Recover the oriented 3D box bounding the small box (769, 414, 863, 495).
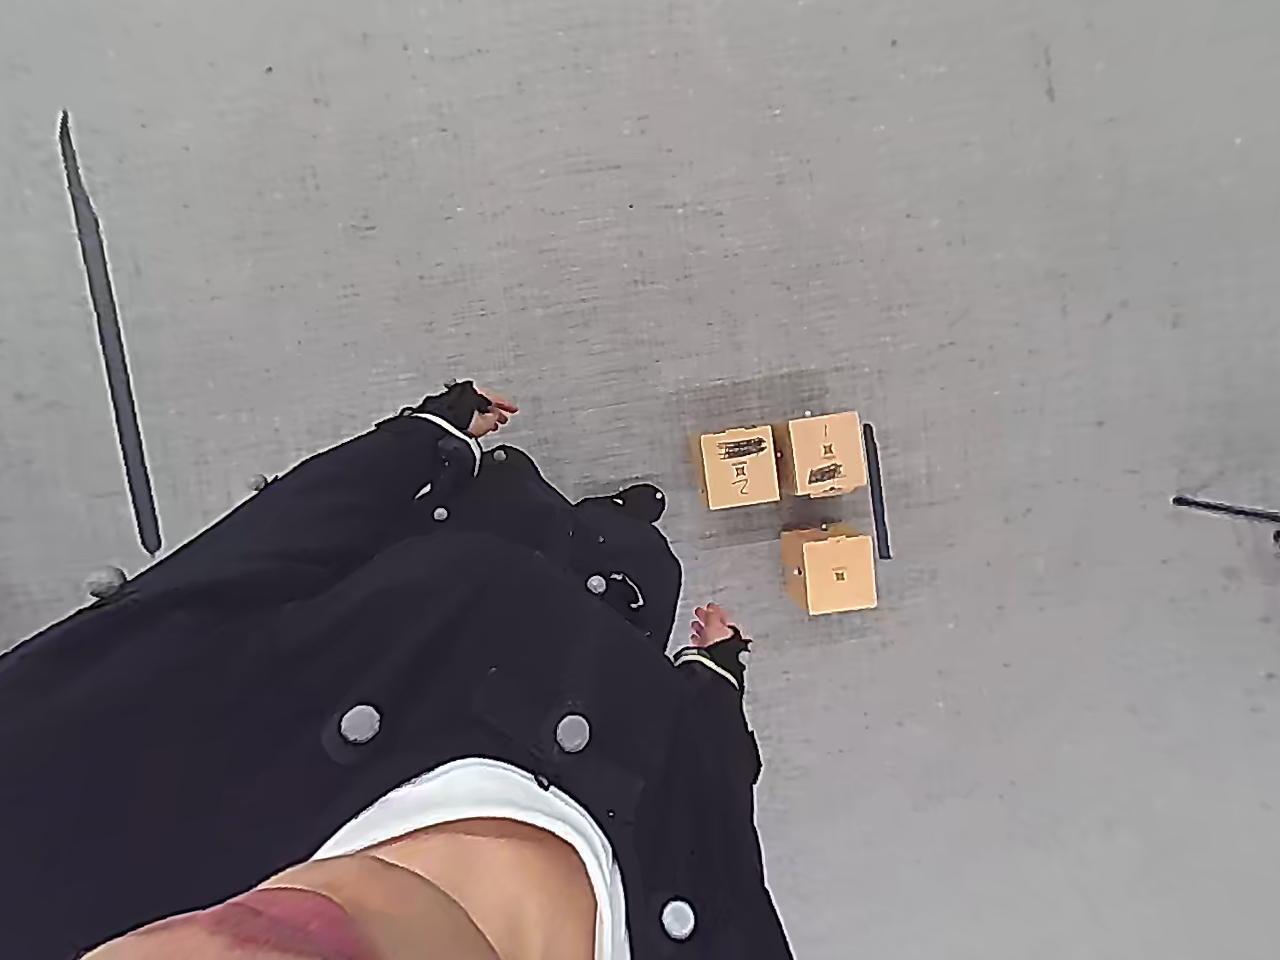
[{"bbox_3d":[0.426,-0.065,1.328,0.168,0.176,0.179,-8,93,-2],"label":"small box"}]

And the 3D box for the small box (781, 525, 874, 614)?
[{"bbox_3d":[0.462,0.217,1.350,0.168,0.176,0.179,-7,94,-2],"label":"small box"}]
